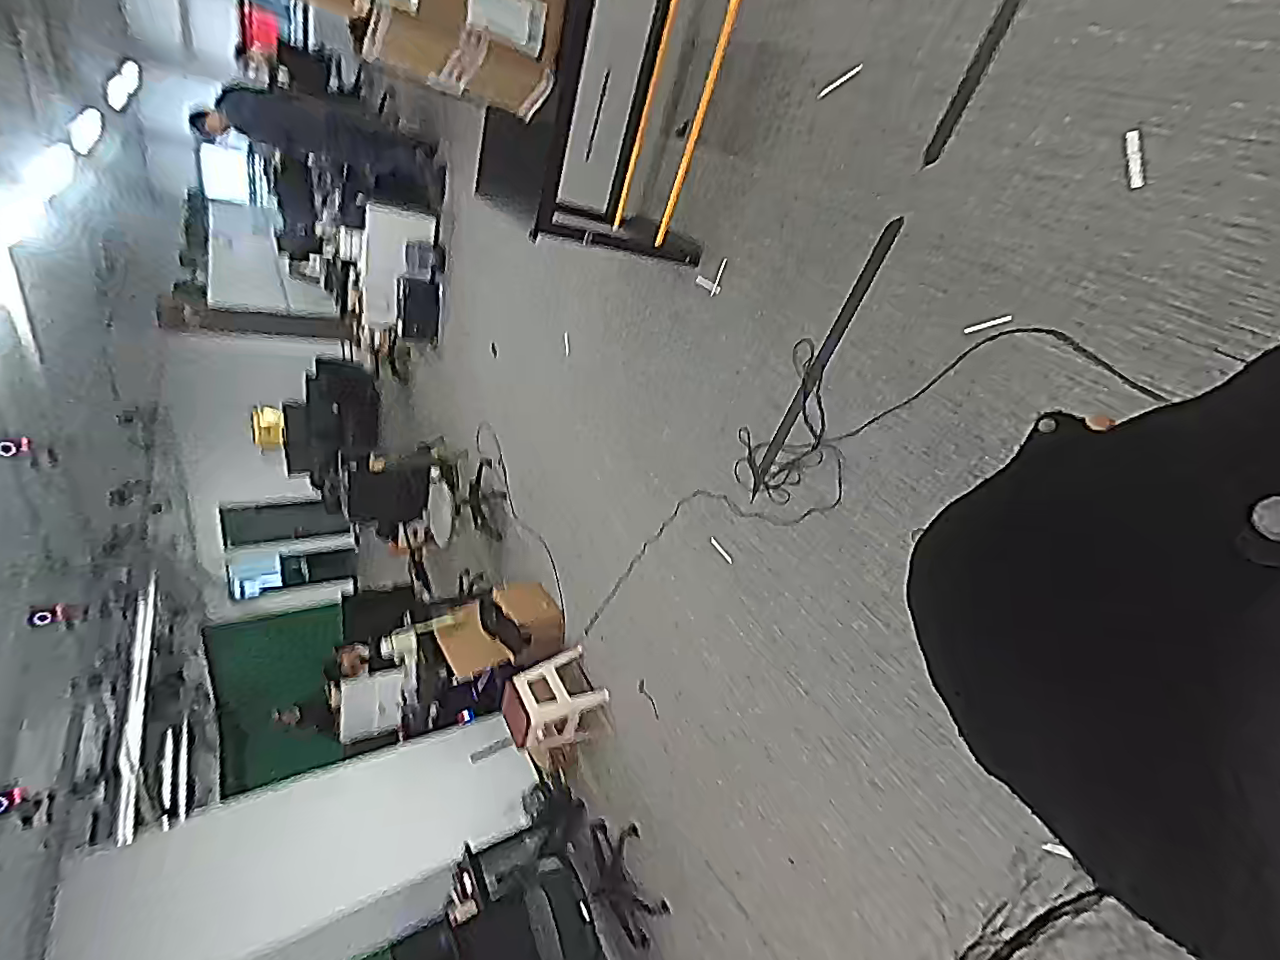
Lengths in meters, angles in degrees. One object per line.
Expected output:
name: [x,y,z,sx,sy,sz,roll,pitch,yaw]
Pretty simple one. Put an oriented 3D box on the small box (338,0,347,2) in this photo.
small box: [-0.844,-1.386,1.407,0.179,0.176,0.168,46,128,44]
